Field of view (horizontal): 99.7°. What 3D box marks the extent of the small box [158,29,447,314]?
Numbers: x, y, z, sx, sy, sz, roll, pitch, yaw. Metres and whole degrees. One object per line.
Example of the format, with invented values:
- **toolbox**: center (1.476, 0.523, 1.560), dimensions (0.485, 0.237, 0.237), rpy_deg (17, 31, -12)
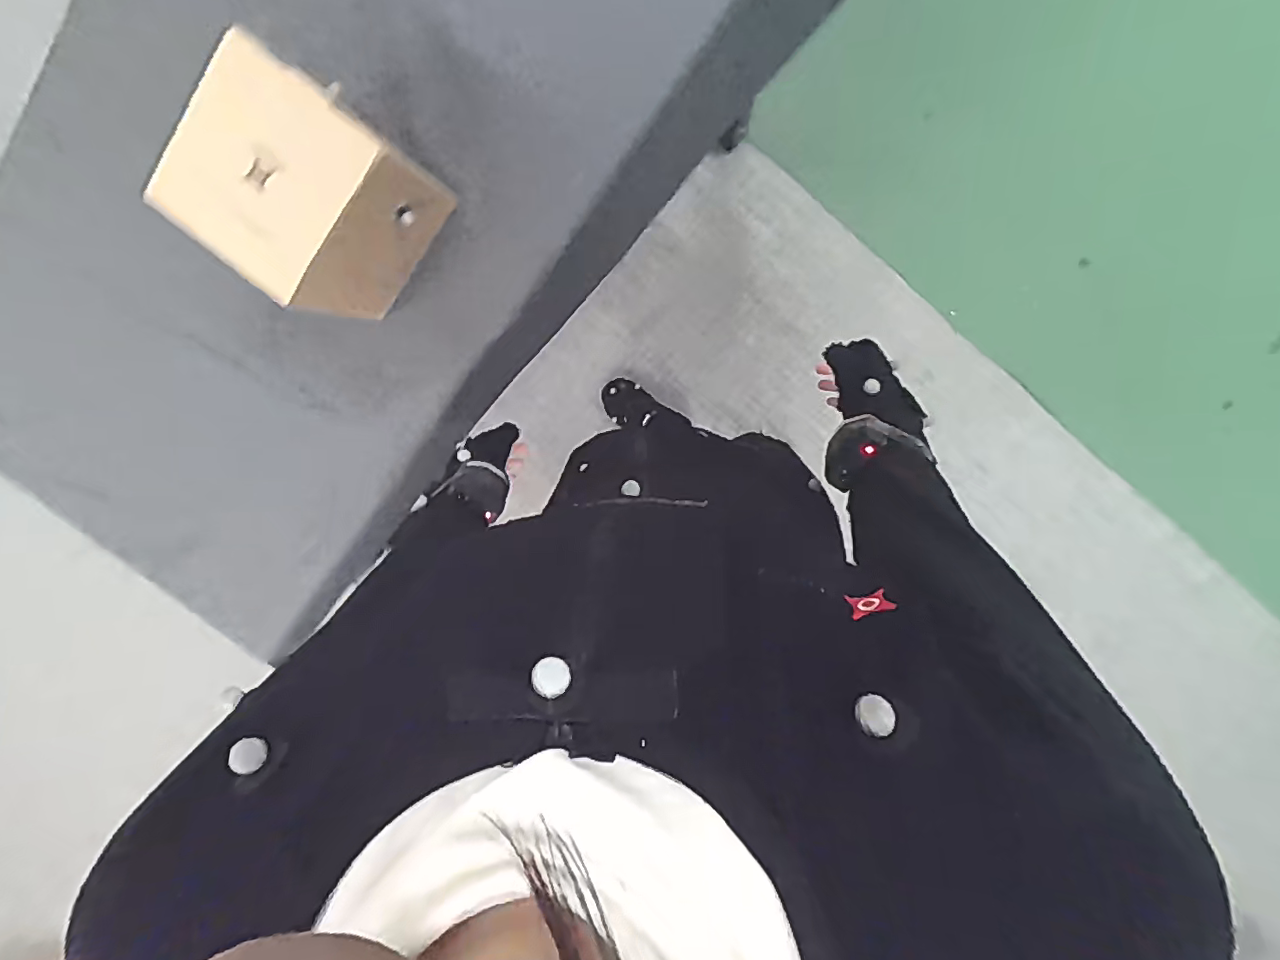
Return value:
- **small box**: center (-0.335, -0.300, 0.575), dimensions (0.168, 0.176, 0.179), rpy_deg (38, 103, -3)
